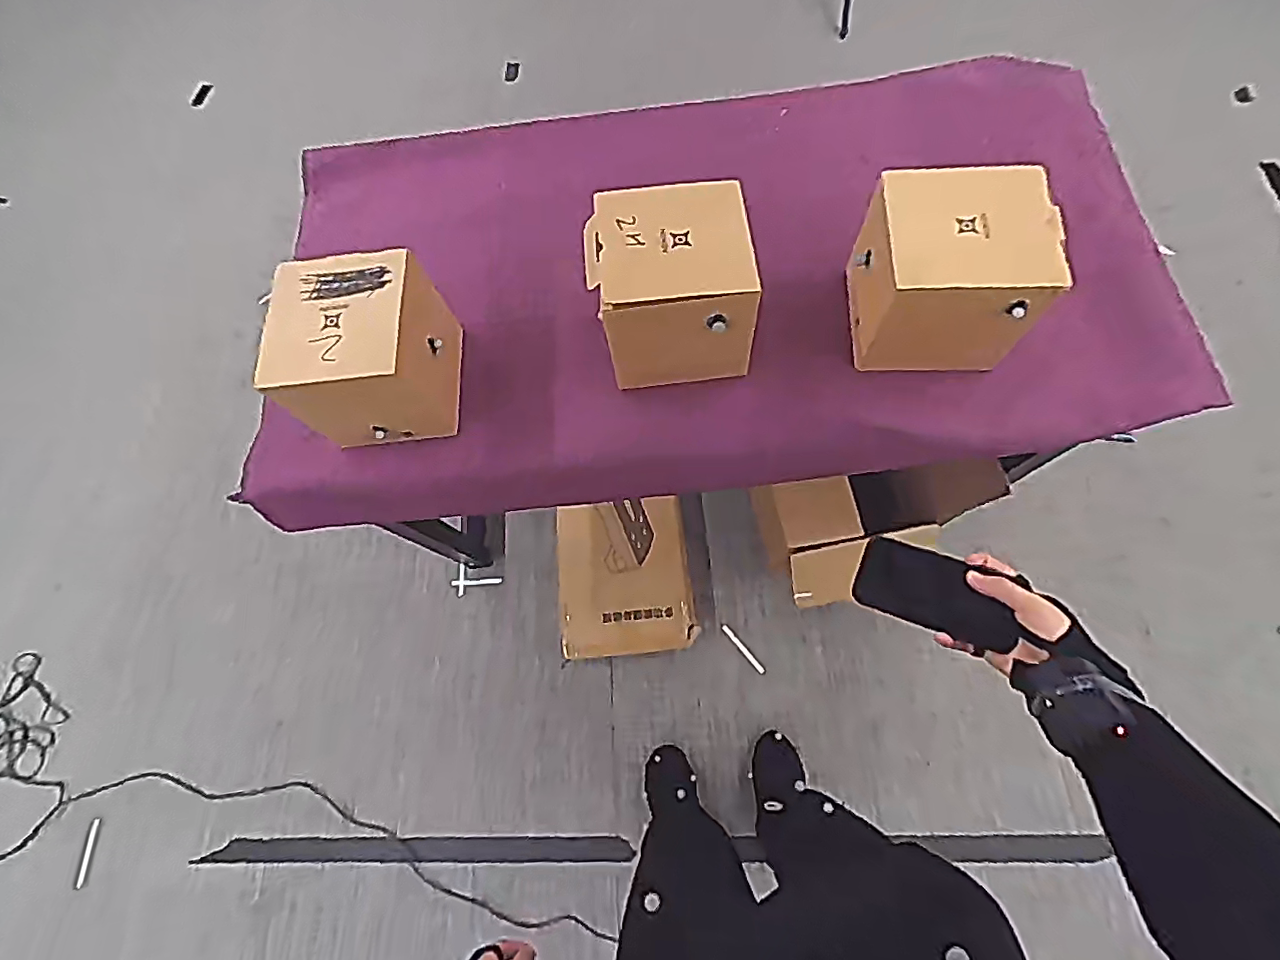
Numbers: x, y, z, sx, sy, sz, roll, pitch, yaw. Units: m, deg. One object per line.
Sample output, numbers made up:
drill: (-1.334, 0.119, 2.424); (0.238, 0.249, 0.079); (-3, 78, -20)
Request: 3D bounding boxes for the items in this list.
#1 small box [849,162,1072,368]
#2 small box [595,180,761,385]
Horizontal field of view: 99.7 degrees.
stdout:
small box: (0.362, -0.248, 0.654); (0.179, 0.176, 0.168); (1, 71, 6)
small box: (0.044, -0.237, 0.681); (0.179, 0.176, 0.168); (-6, 68, 3)
